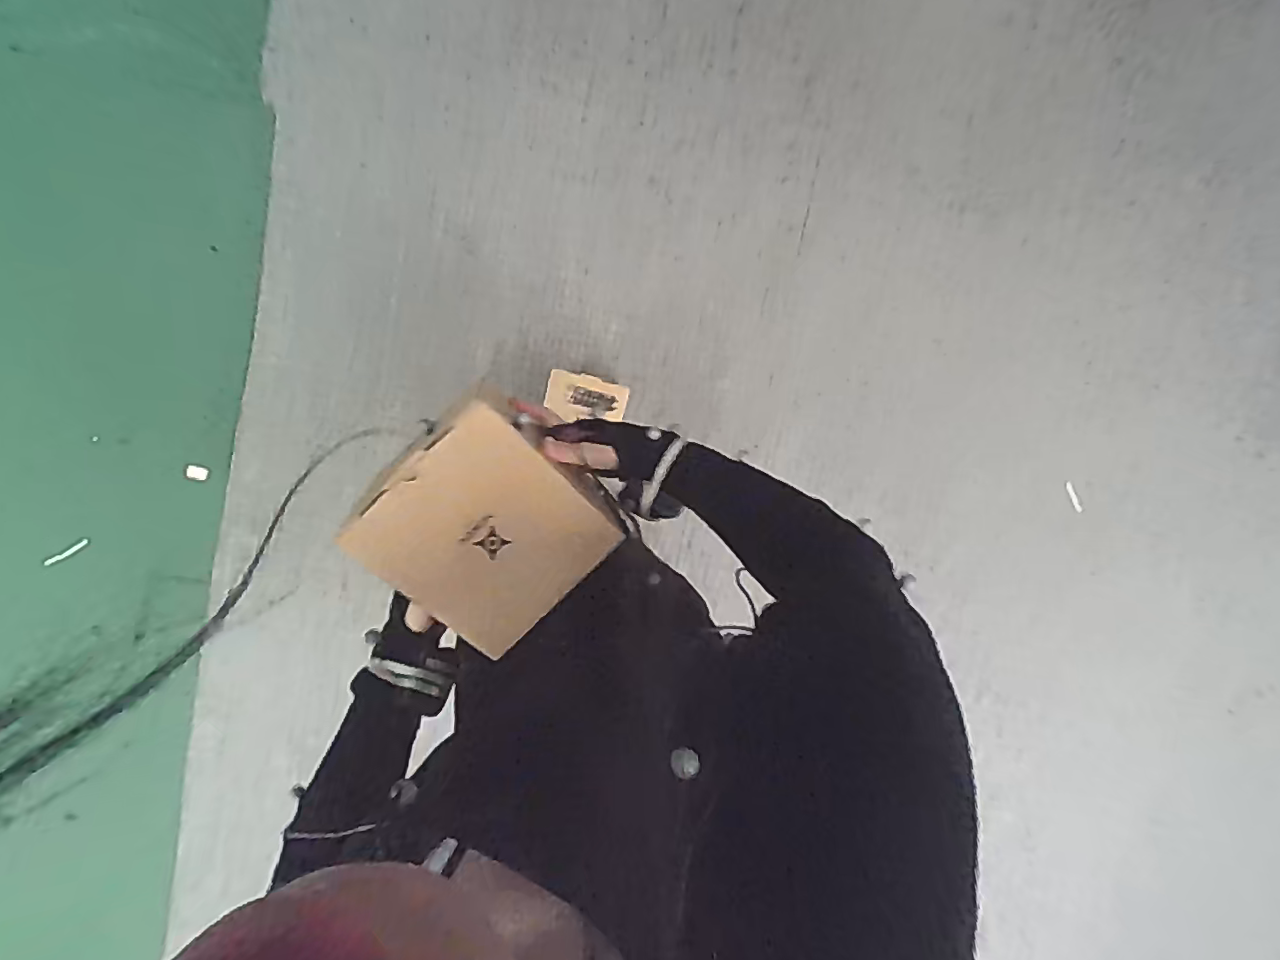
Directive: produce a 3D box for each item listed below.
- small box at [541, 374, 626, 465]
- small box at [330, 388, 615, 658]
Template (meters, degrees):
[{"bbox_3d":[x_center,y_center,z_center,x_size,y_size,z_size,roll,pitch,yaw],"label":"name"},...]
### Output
[{"bbox_3d":[-0.140,-0.150,1.355,0.168,0.176,0.179,17,94,-7],"label":"small box"},{"bbox_3d":[-0.152,0.029,0.531,0.168,0.176,0.179,-45,112,2],"label":"small box"}]
